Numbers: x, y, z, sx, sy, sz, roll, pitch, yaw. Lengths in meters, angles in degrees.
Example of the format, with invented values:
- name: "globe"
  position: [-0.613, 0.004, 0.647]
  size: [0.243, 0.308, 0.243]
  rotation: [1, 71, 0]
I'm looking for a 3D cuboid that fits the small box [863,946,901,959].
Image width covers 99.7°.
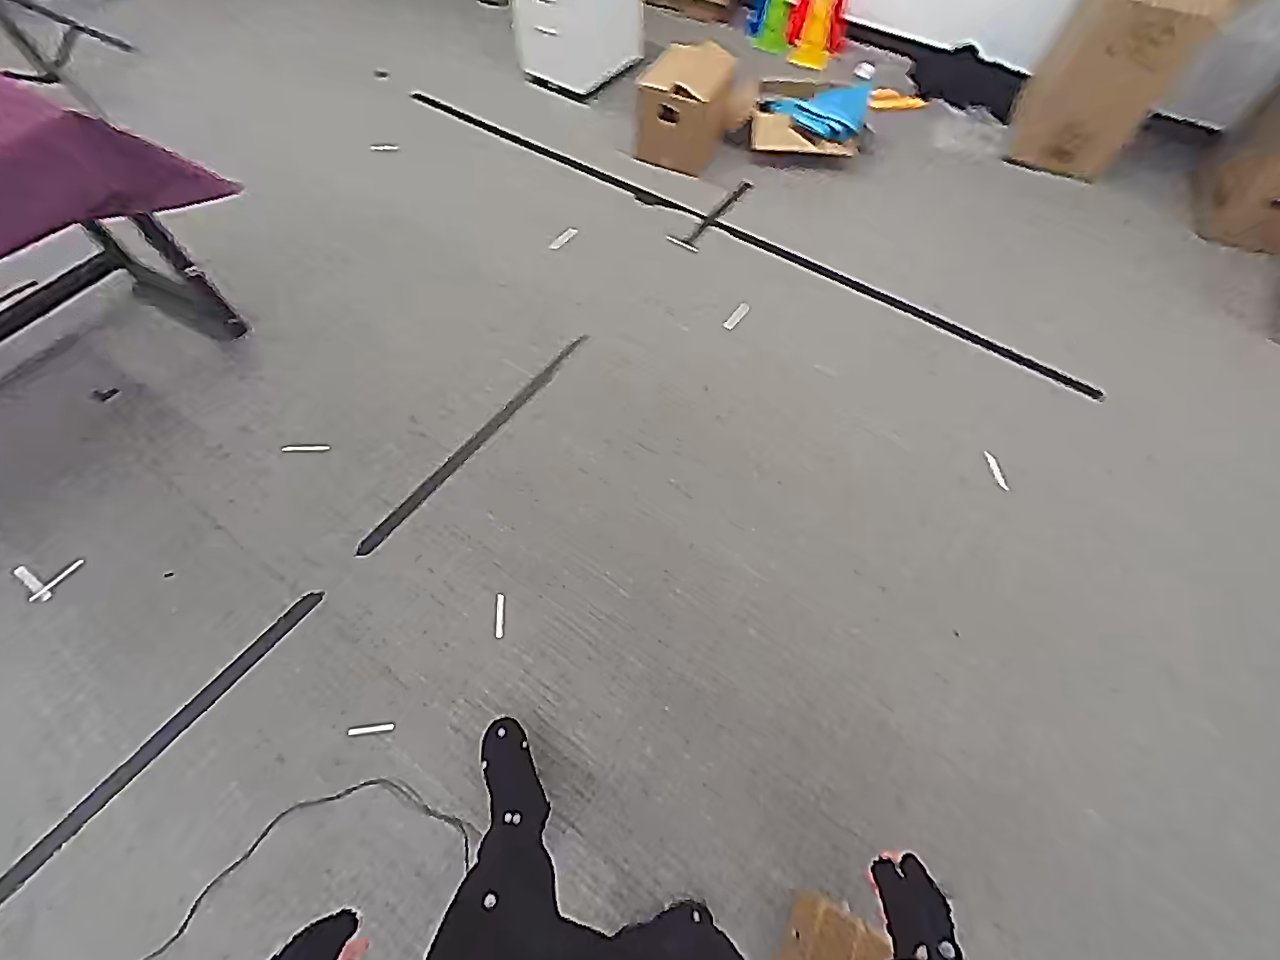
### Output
- name: "small box"
  position: [0.399, 0.813, 0.760]
  size: [0.168, 0.176, 0.179]
  rotation: [28, 64, 15]

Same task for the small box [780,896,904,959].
- name: "small box"
  position: [0.380, 0.958, 1.052]
  size: [0.168, 0.176, 0.179]
  rotation: [25, 61, 12]

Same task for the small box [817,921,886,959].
- name: "small box"
  position: [0.393, 0.886, 0.906]
  size: [0.179, 0.176, 0.168]
  rotation: [28, 65, 13]
